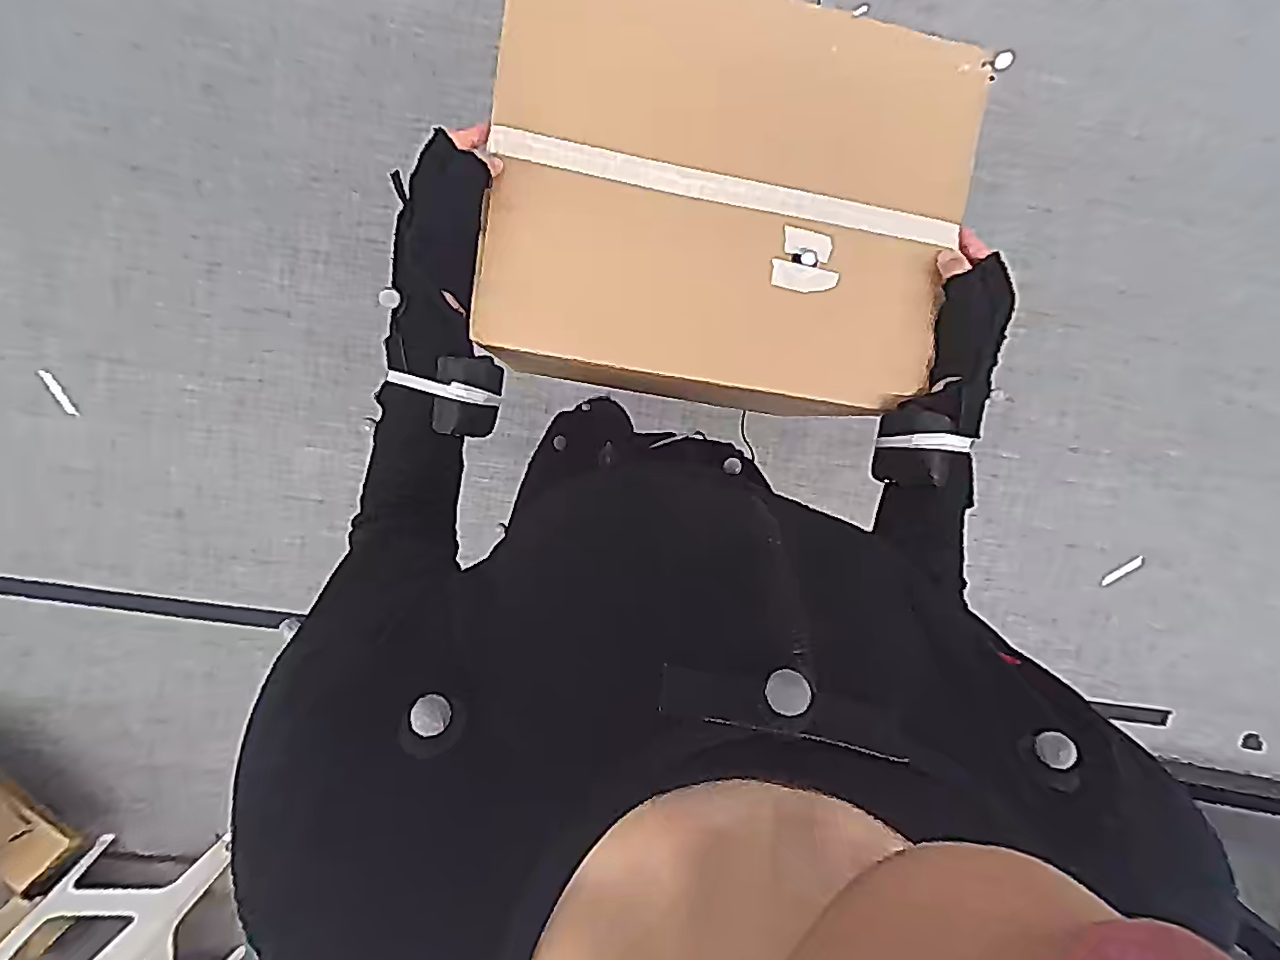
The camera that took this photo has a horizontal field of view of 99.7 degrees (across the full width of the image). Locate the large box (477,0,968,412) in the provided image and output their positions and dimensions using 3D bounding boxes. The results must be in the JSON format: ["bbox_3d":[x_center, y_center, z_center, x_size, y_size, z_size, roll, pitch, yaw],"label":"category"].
[{"bbox_3d":[0.055,-0.256,0.610,0.408,0.320,0.320,8,97,-9],"label":"large box"}]
